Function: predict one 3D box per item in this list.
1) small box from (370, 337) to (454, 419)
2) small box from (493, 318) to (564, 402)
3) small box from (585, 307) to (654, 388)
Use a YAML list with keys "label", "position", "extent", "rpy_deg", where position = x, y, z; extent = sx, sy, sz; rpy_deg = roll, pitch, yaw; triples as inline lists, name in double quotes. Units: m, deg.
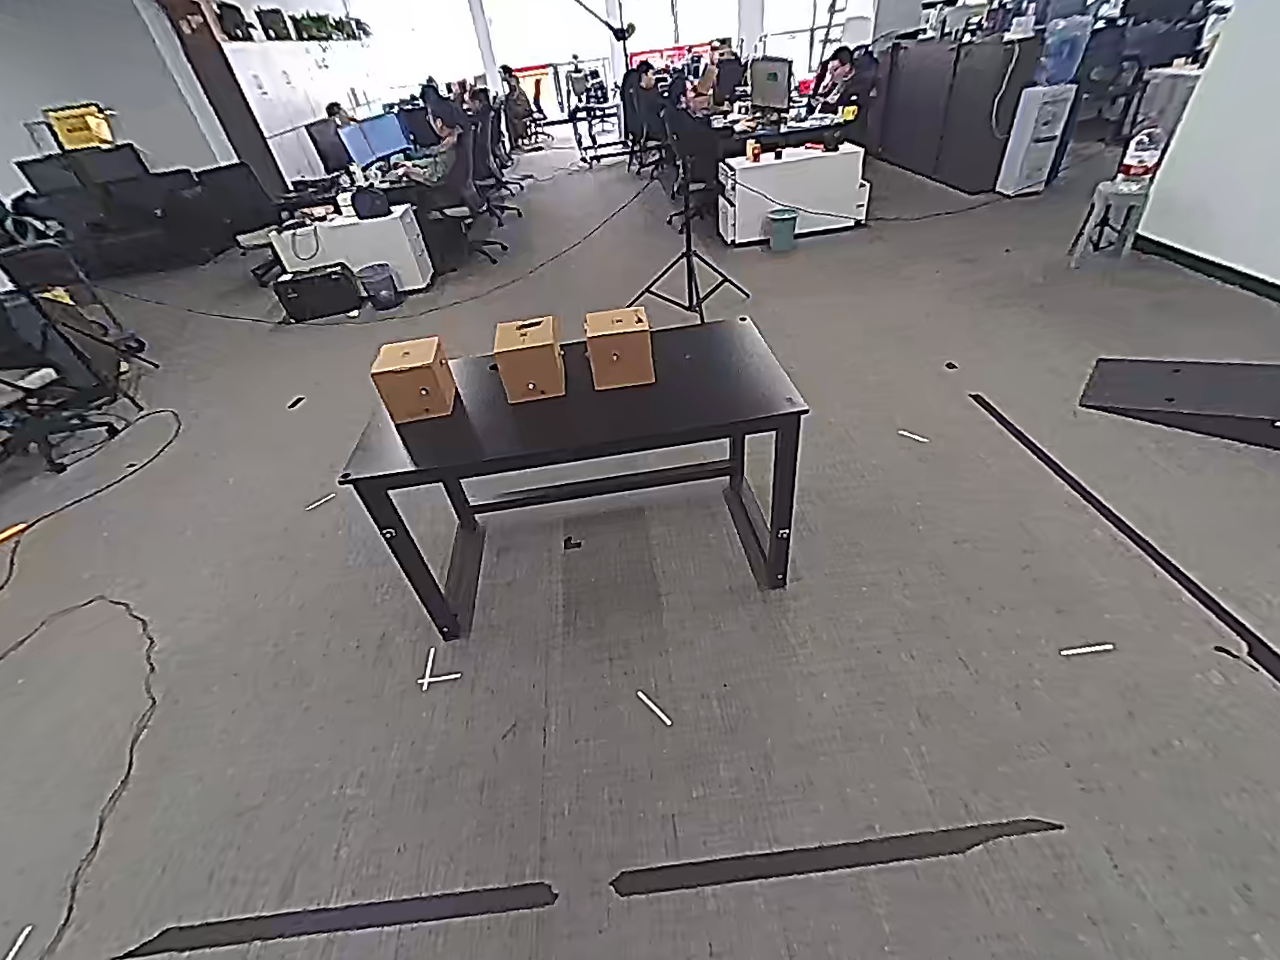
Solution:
- label: "small box"
  position: [-0.644, -0.288, 1.552]
  extent: [0.168, 0.176, 0.179]
  rpy_deg: [-10, 39, -5]
- label: "small box"
  position: [-0.317, -0.348, 1.570]
  extent: [0.168, 0.176, 0.179]
  rpy_deg: [-9, 40, -2]
- label: "small box"
  position: [-0.059, -0.381, 1.569]
  extent: [0.179, 0.176, 0.168]
  rpy_deg: [-8, 39, 1]
